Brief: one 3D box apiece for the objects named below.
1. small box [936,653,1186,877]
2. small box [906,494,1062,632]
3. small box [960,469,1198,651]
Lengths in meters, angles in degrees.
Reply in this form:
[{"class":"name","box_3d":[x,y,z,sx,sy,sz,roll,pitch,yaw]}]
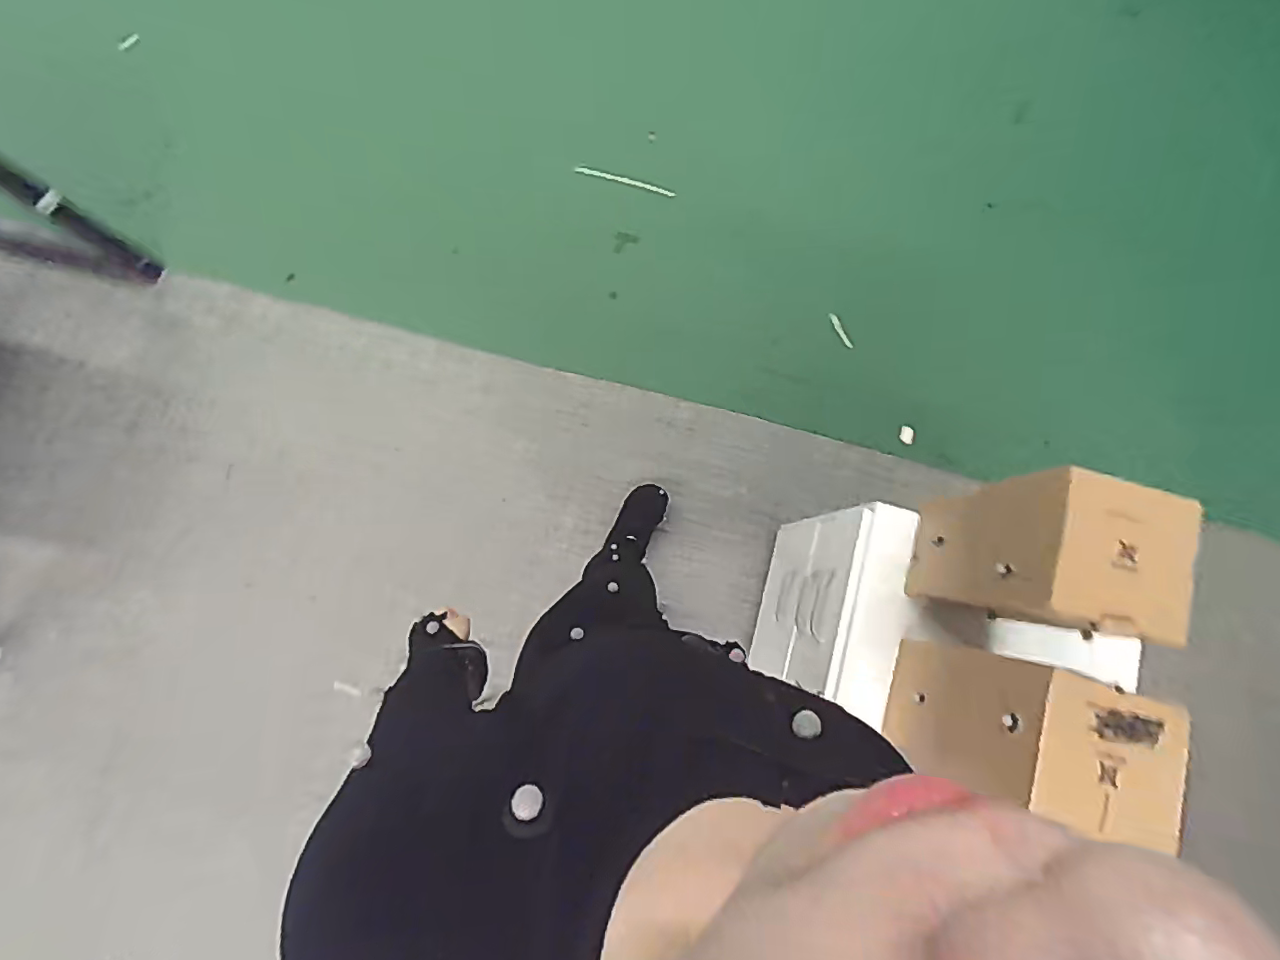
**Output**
[{"class":"small box","box_3d":[0.498,0.327,0.663,0.168,0.176,0.179,19,79,0]},{"class":"small box","box_3d":[0.561,0.132,0.865,0.179,0.176,0.168,17,82,0]},{"class":"small box","box_3d":[0.554,0.103,0.704,0.168,0.176,0.179,16,80,-2]}]
